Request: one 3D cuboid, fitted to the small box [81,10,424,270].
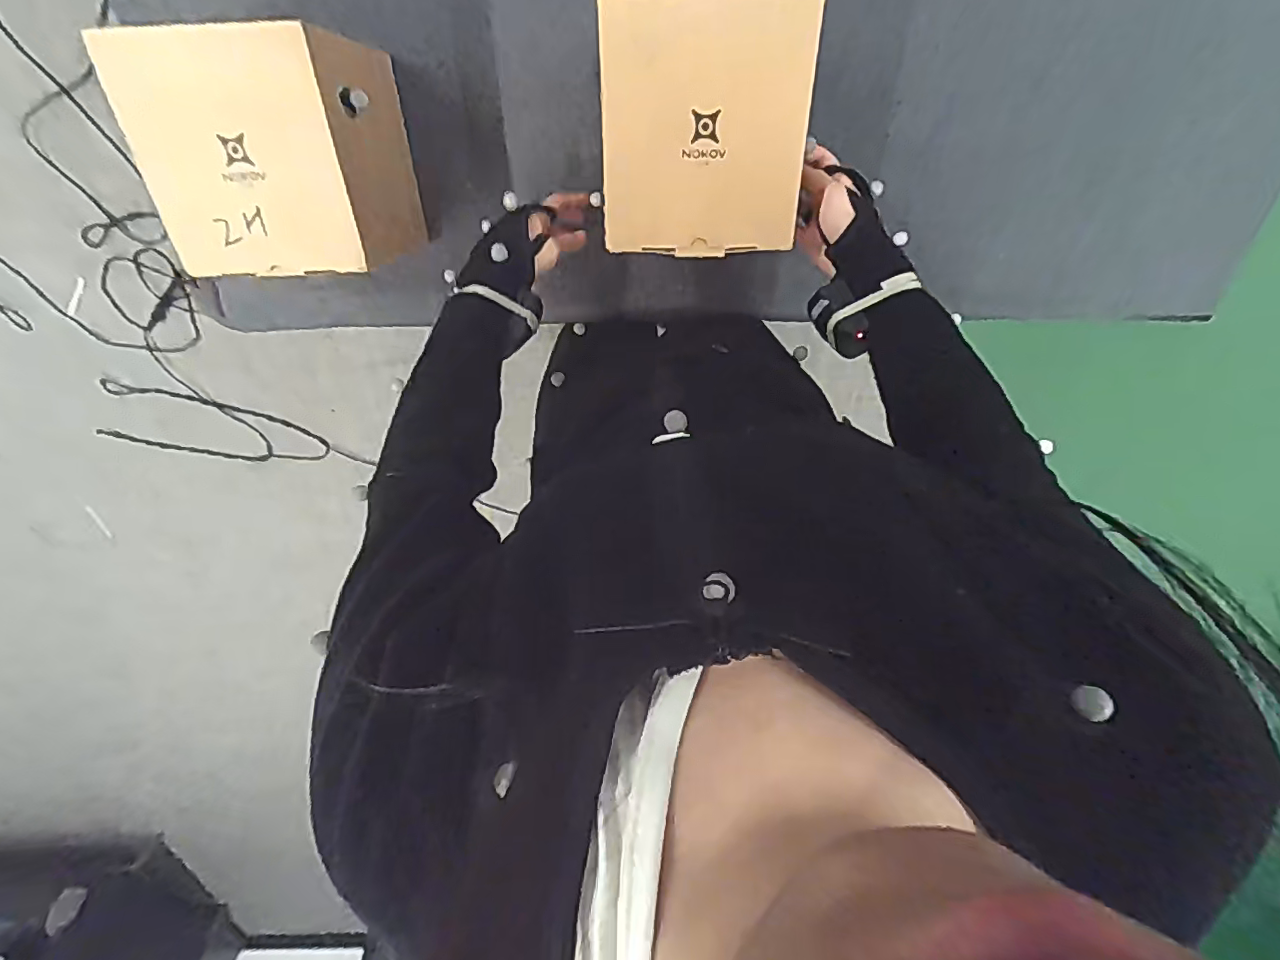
[{"bbox_3d":[-0.322,-0.301,0.500,0.168,0.176,0.179,-1,121,0],"label":"small box"}]

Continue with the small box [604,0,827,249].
[{"bbox_3d":[0.053,-0.318,0.497,0.168,0.176,0.179,-1,122,0],"label":"small box"}]
